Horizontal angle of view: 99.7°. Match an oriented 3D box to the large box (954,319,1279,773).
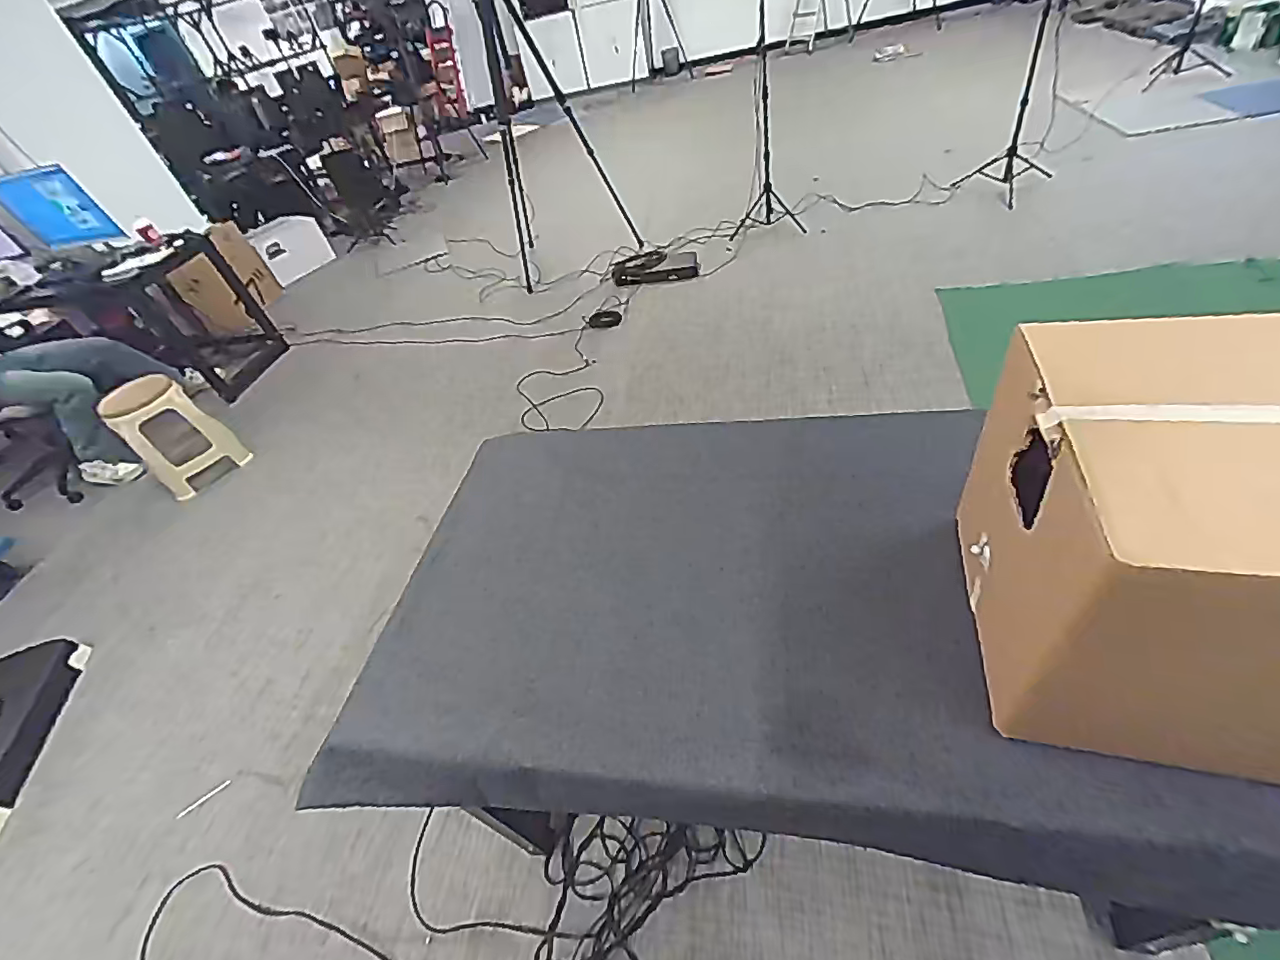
[{"bbox_3d":[0.573,0.061,0.511,0.408,0.320,0.320,3,47,17],"label":"large box"}]
